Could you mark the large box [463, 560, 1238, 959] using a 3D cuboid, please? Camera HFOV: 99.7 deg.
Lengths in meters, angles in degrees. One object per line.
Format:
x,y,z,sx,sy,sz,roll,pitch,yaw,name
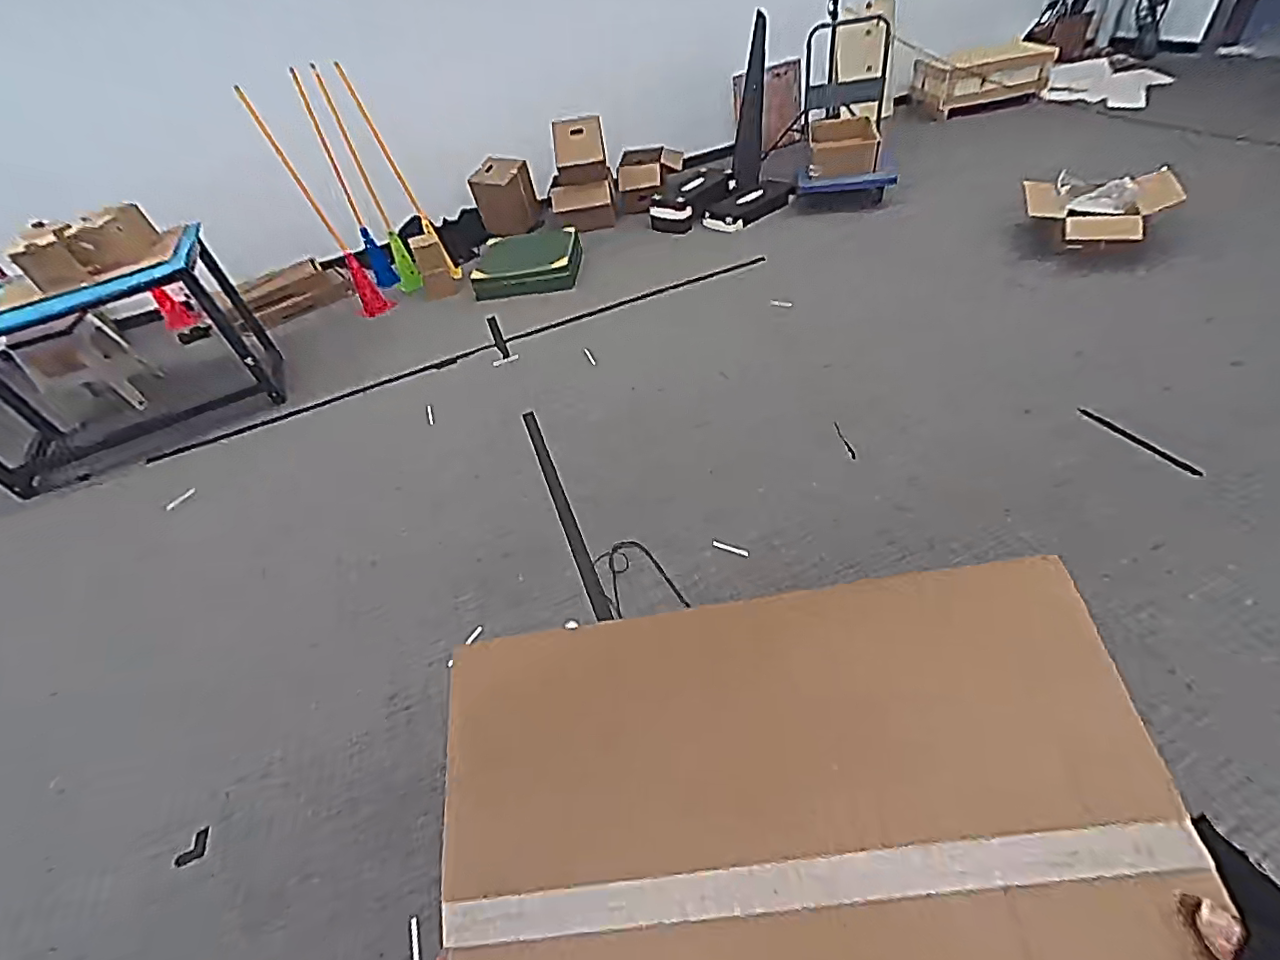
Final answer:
0.113,0.288,0.435,0.408,0.320,0.320,-11,64,6,large box
